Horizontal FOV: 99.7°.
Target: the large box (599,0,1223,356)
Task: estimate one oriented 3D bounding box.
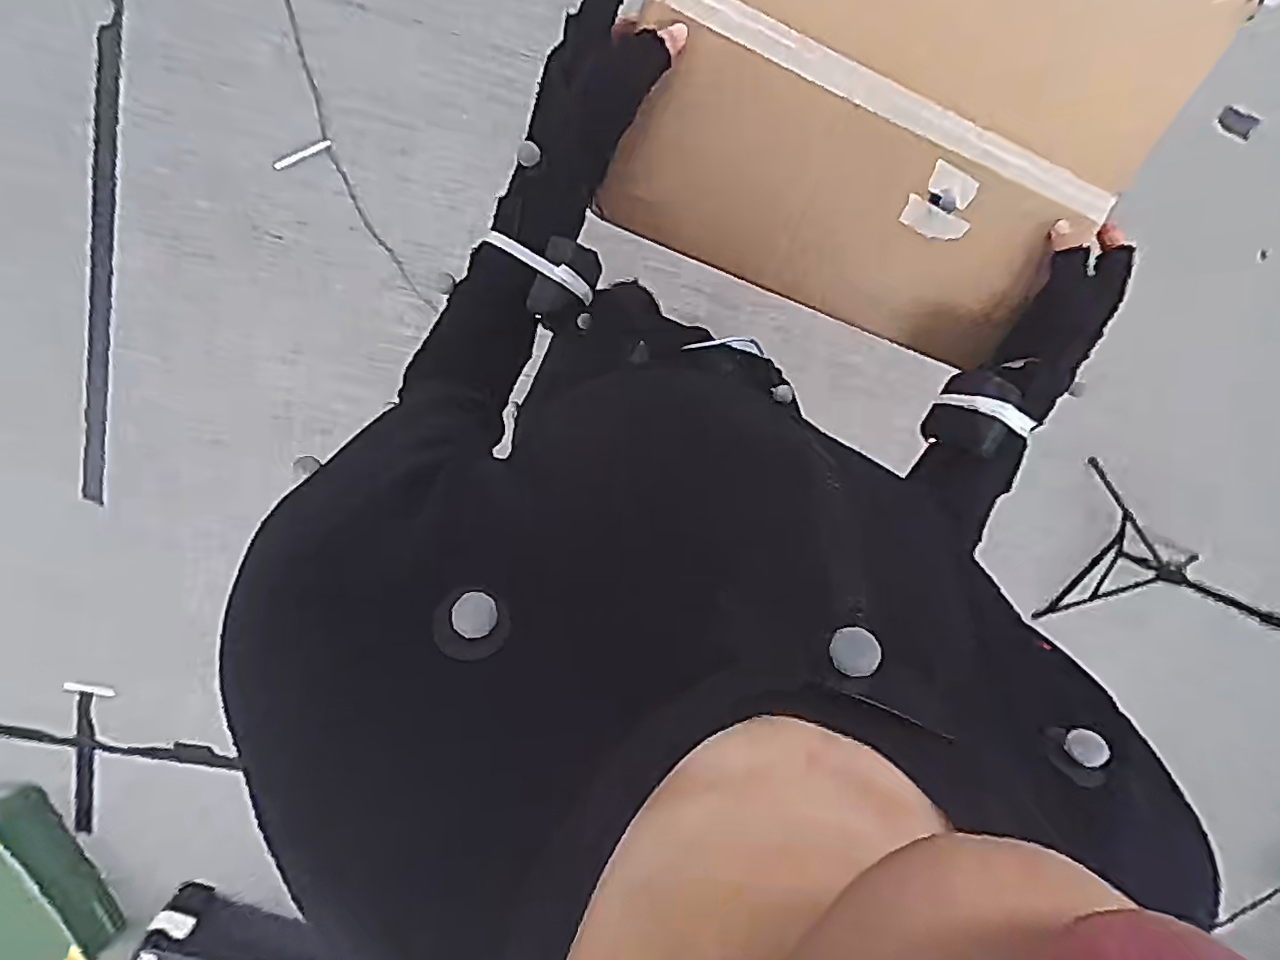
[{"bbox_3d":[0.194,-0.375,0.555,0.408,0.320,0.320,17,120,-12],"label":"large box"}]
